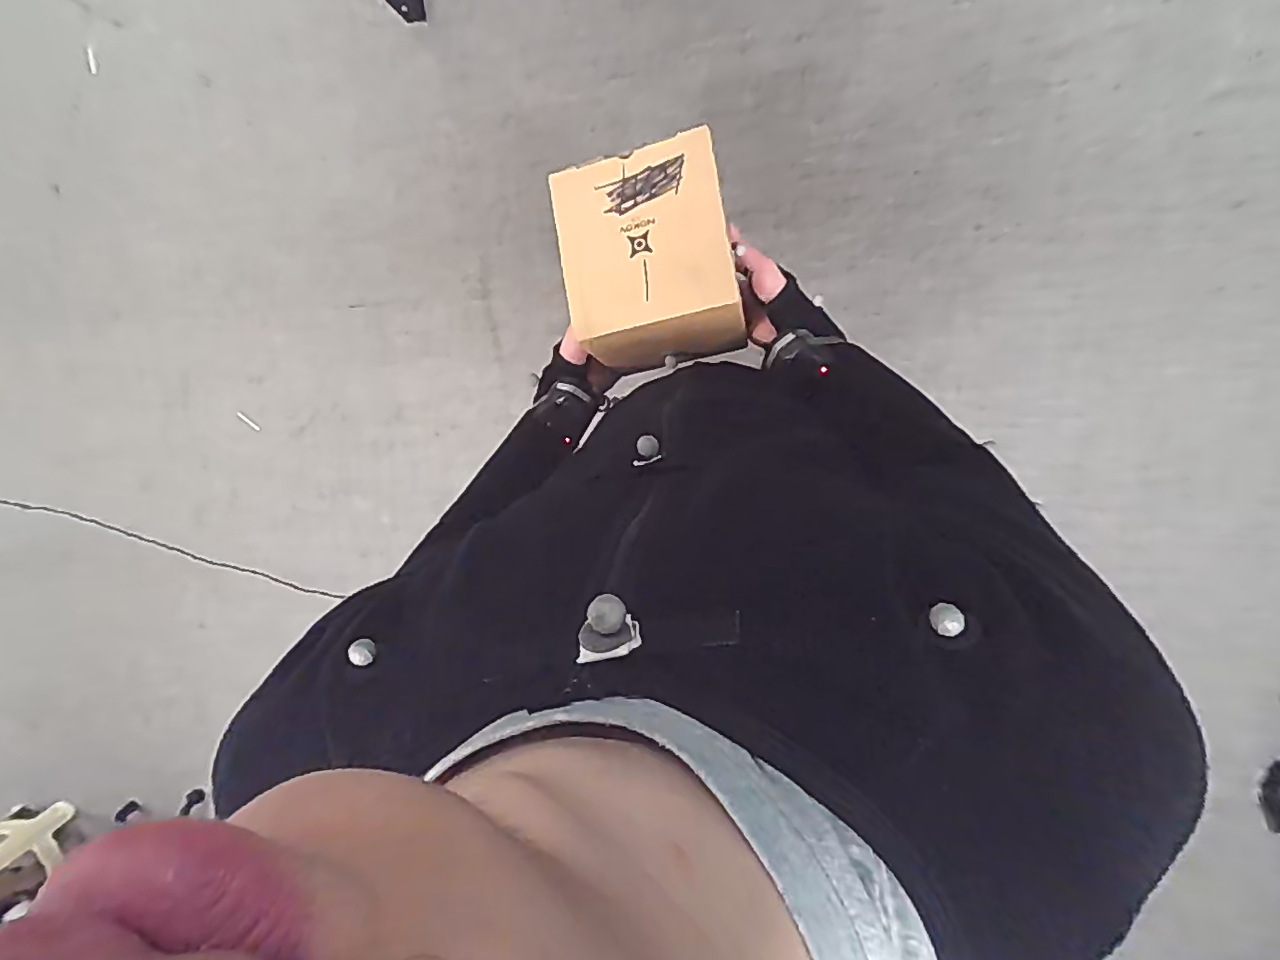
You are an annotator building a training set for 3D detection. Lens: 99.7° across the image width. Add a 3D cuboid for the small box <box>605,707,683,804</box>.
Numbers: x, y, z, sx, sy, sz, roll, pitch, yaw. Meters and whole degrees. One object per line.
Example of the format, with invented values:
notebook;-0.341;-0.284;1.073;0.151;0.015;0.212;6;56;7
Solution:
small box;0.020;0.853;1.691;0.168;0.176;0.179;41;107;0
